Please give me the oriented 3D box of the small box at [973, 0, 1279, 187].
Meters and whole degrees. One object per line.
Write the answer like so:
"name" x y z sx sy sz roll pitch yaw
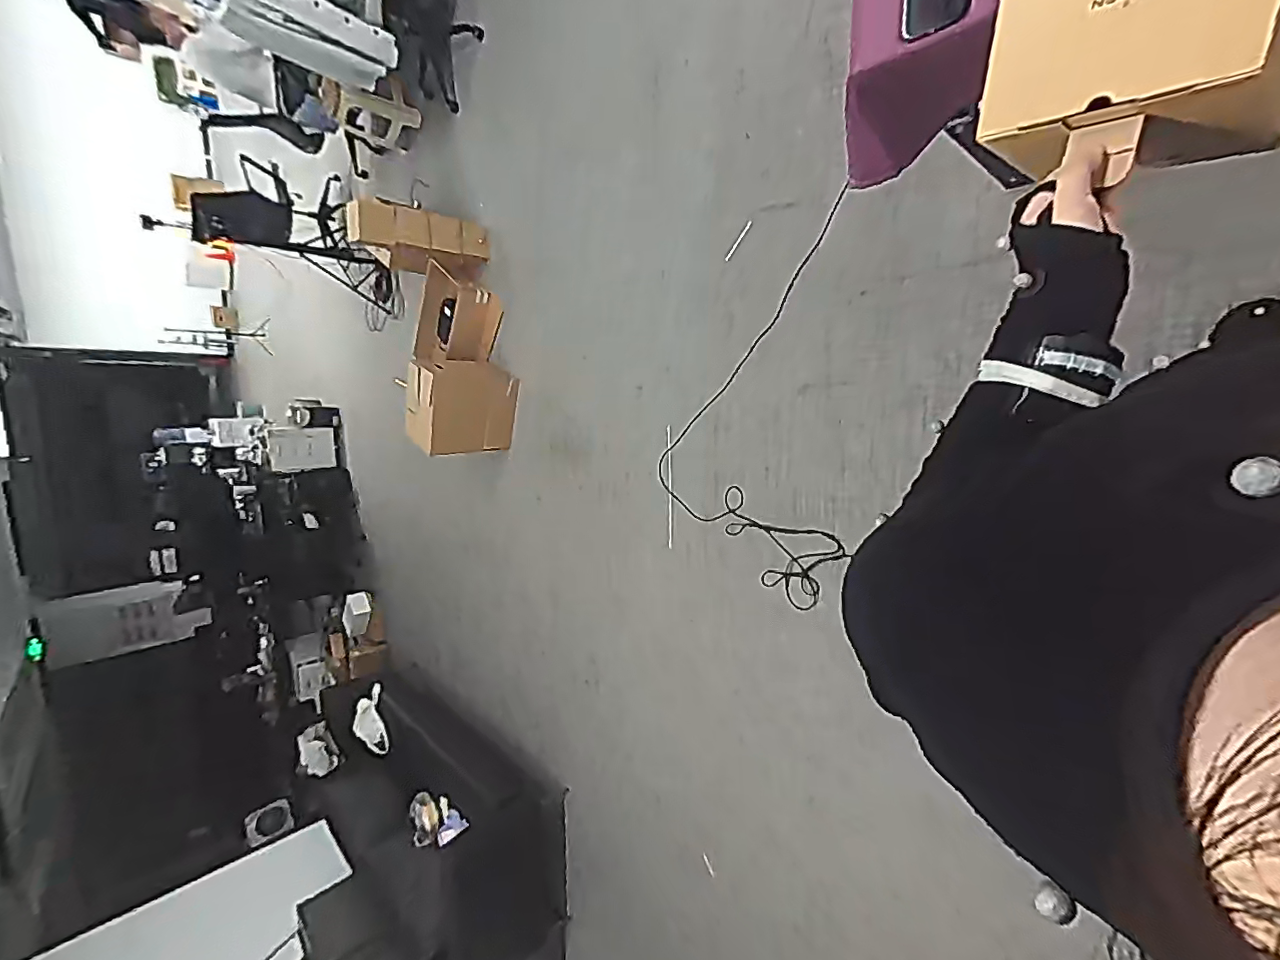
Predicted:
"small box" 0.406 -0.364 0.437 0.168 0.176 0.179 19 111 49
